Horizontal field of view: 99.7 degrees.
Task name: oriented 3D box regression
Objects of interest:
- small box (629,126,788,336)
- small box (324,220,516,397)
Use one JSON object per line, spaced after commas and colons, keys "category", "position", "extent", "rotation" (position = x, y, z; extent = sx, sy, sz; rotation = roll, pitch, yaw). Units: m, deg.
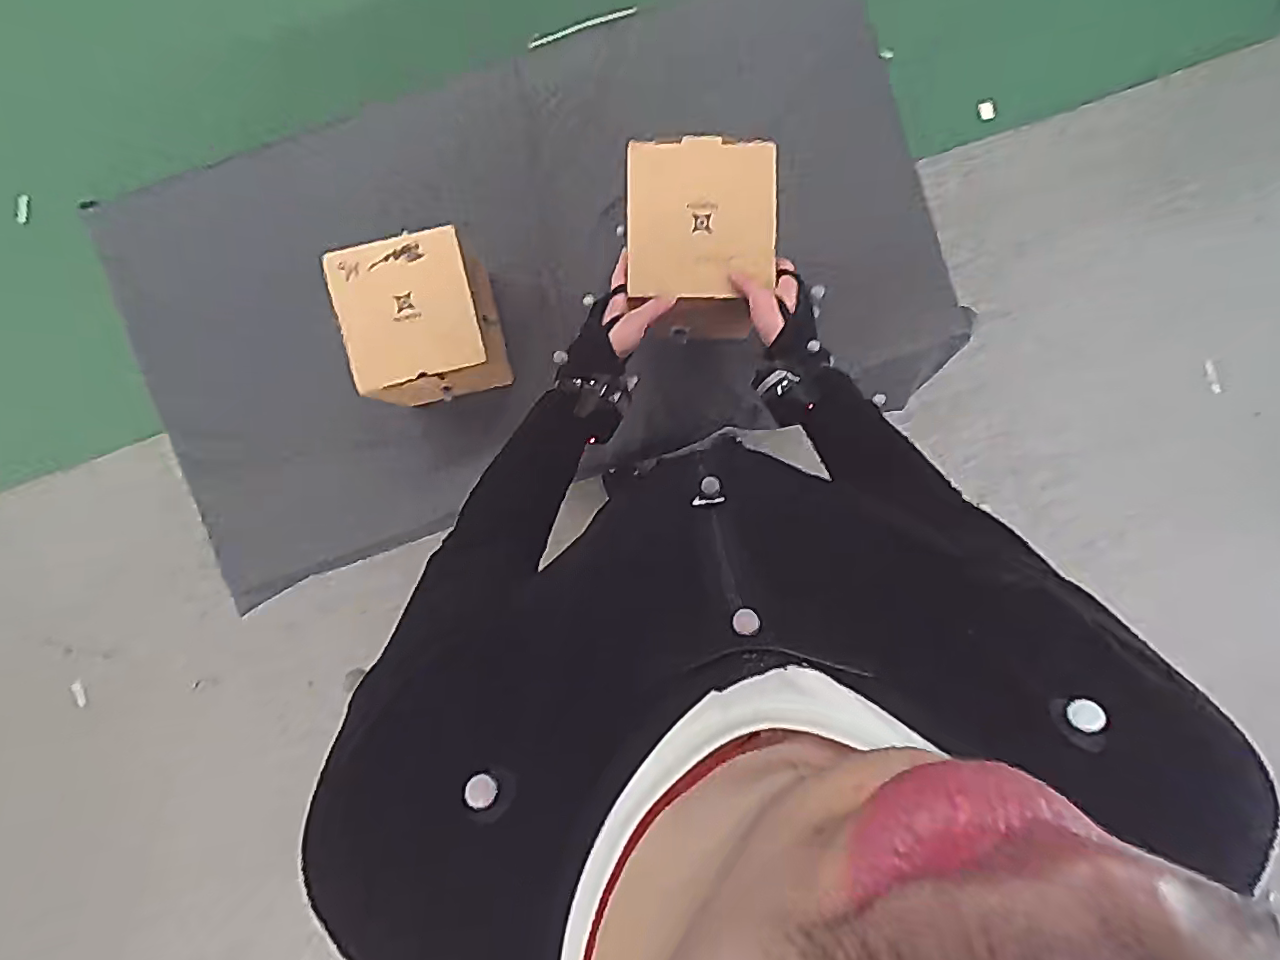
{"category": "small box", "position": [0.074, -0.289, 0.657], "extent": [0.168, 0.176, 0.179], "rotation": [2, 89, 2]}
{"category": "small box", "position": [-0.285, -0.217, 0.742], "extent": [0.168, 0.176, 0.179], "rotation": [-16, 93, 1]}
